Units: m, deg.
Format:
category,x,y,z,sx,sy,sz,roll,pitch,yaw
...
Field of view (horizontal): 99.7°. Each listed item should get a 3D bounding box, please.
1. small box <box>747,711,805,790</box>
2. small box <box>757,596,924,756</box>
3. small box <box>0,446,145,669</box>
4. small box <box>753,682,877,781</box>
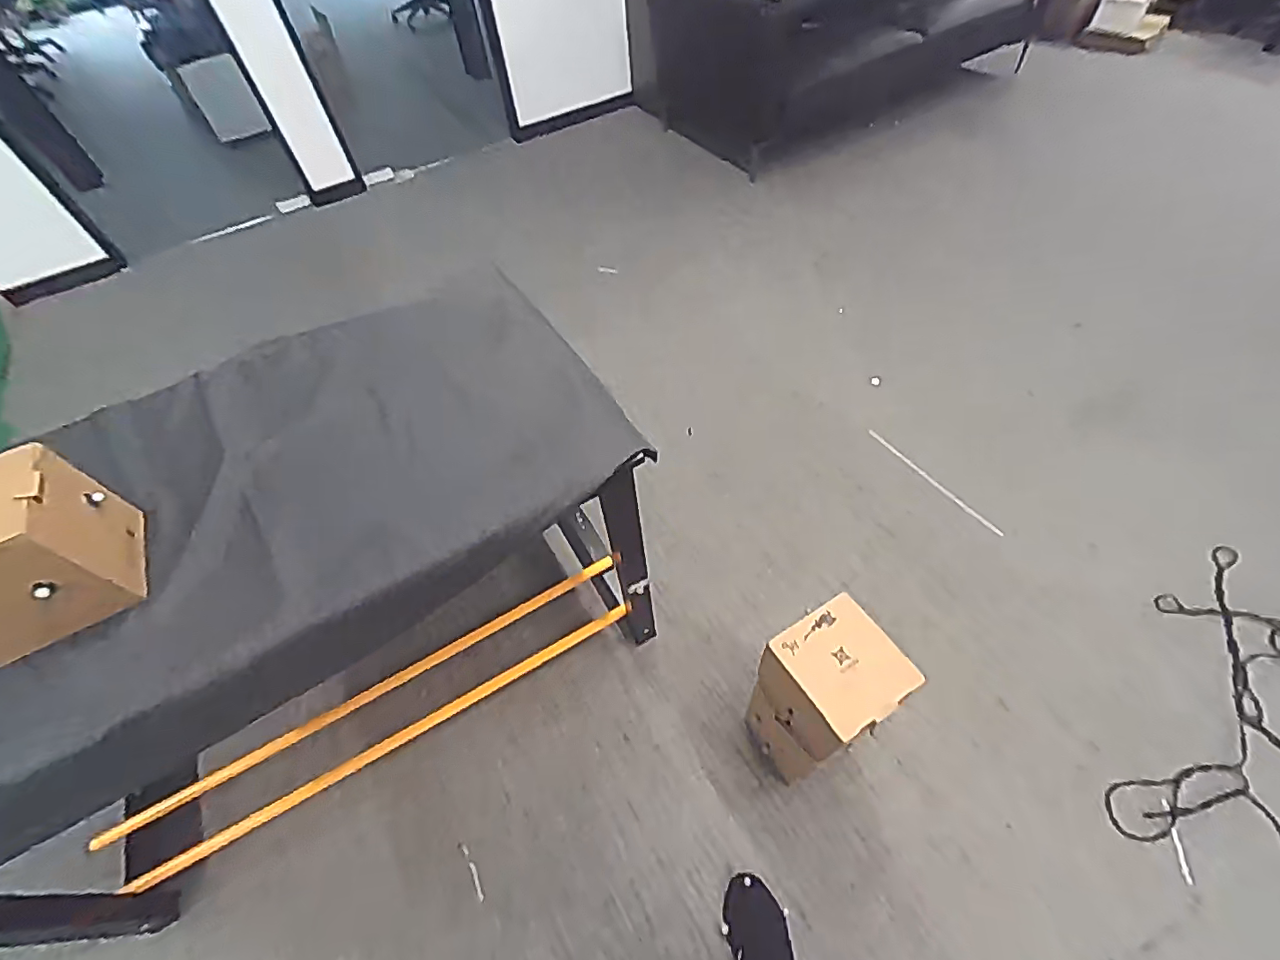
category,x,y,z,sx,sy,sz,roll,pitch,yaw
small box,0.347,0.525,1.153,0.179,0.176,0.168,-26,54,-15
small box,0.316,0.329,0.891,0.168,0.176,0.179,-26,56,-16
small box,-0.758,0.096,0.661,0.179,0.176,0.168,-29,54,-16
small box,0.328,0.435,1.018,0.179,0.176,0.168,-28,56,-17
